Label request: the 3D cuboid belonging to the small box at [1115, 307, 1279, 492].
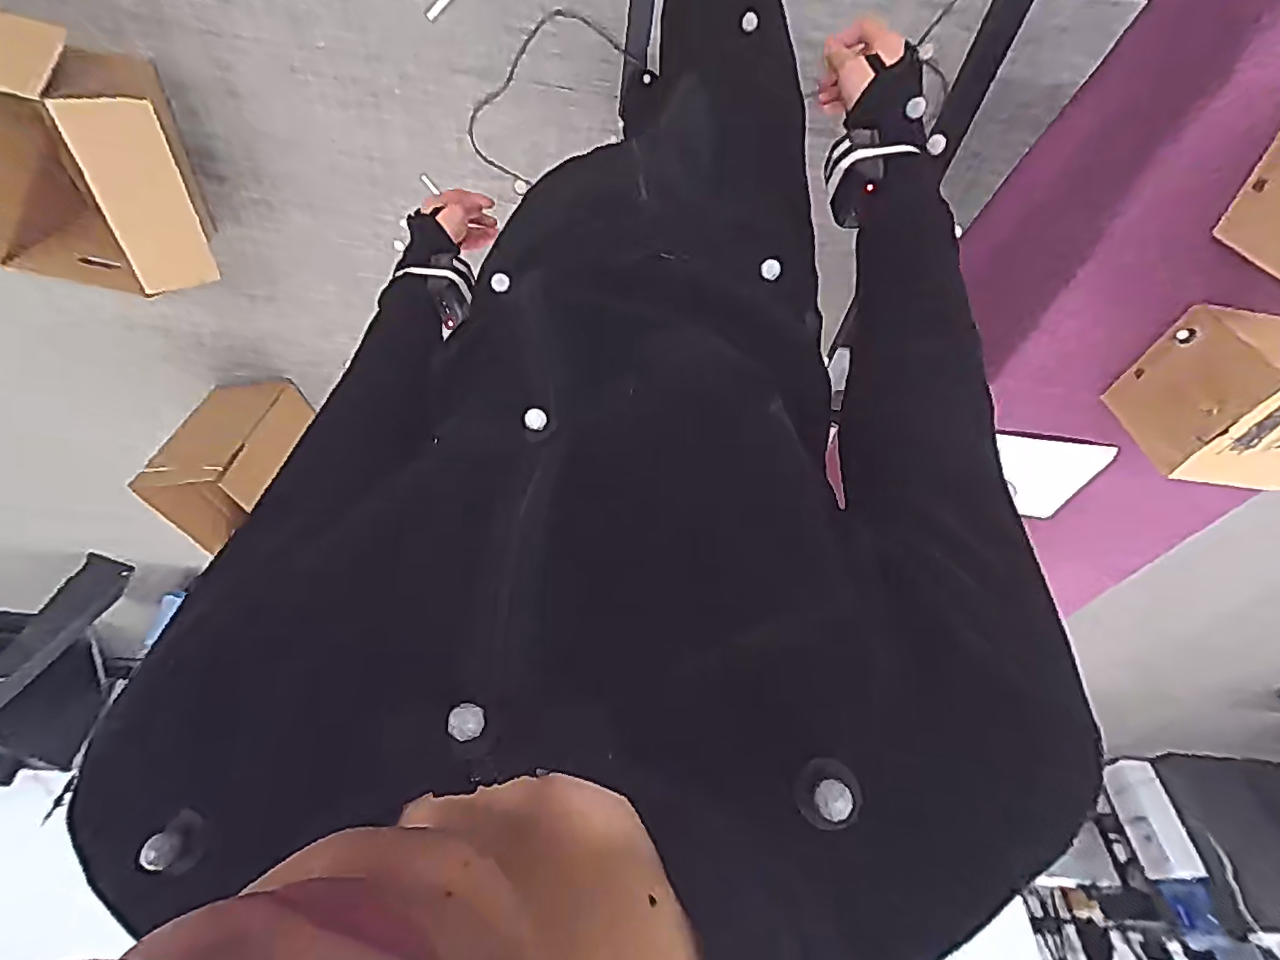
[{"bbox_3d":[0.802,-0.107,0.715,0.179,0.176,0.168,7,139,-5],"label":"small box"}]
